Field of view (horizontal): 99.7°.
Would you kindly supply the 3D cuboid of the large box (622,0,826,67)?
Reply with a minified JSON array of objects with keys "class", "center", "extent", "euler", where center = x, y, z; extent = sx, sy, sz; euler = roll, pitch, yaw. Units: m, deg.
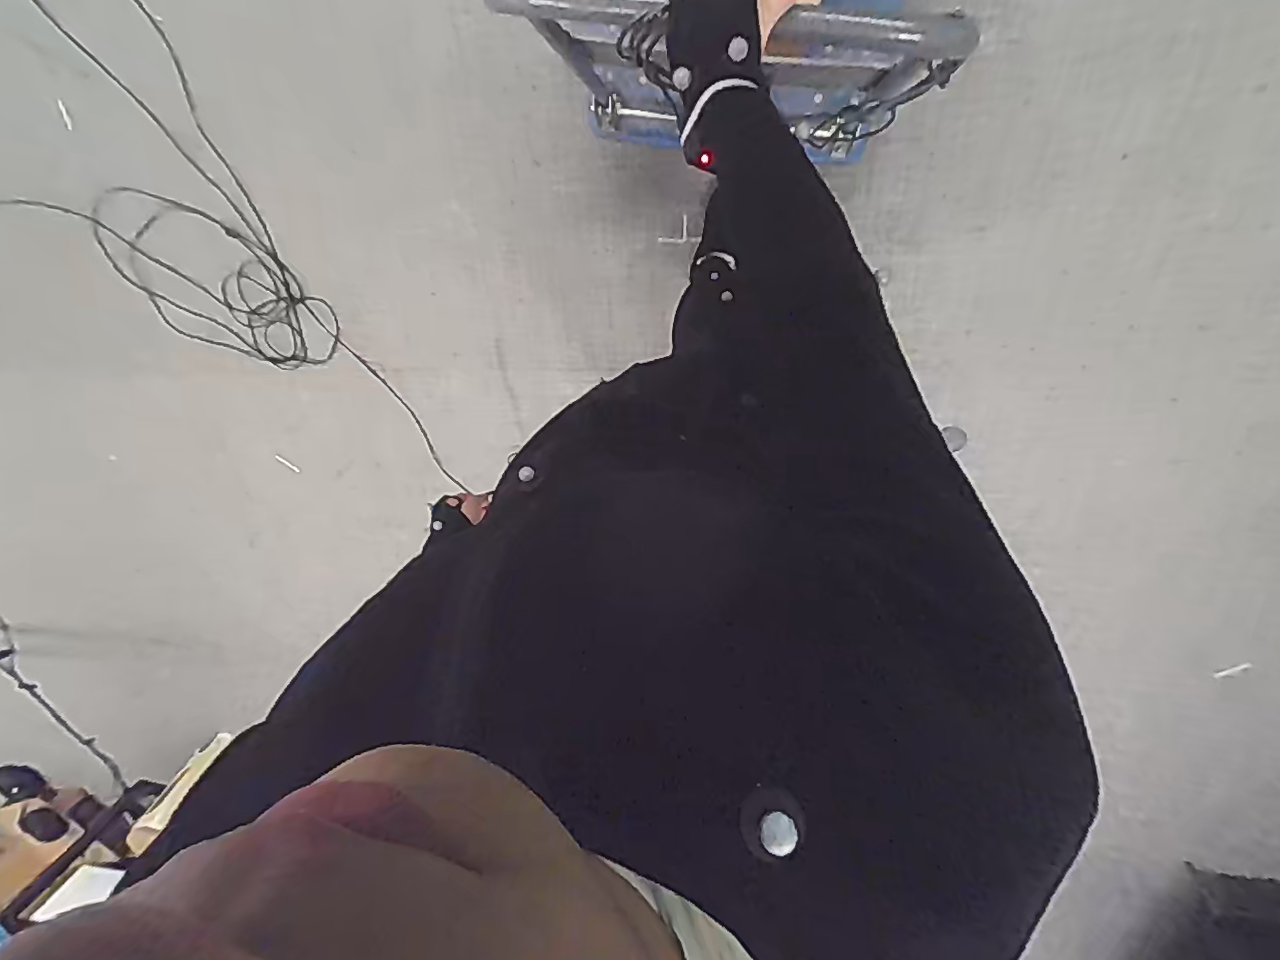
[{"class":"large box","center":[0.162,-0.926,0.826],"extent":[0.320,0.320,0.408],"euler":[12,117,4]}]
